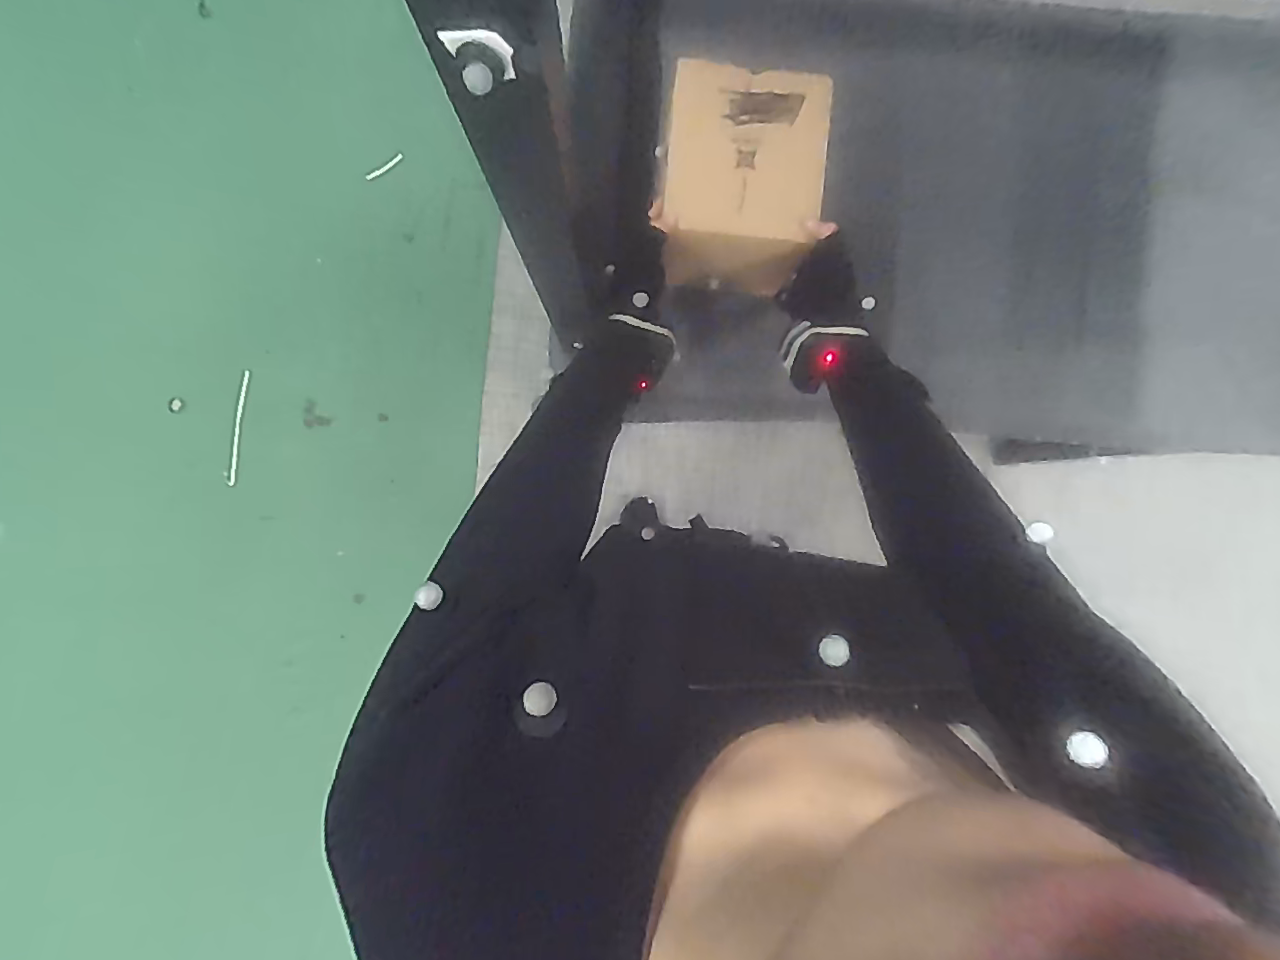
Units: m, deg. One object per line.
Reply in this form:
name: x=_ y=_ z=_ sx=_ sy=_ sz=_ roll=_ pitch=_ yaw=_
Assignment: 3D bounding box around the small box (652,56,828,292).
small box: x=0.106 y=-0.346 z=0.644 sx=0.168 sy=0.176 sz=0.179 roll=5 pitch=91 yaw=-2
